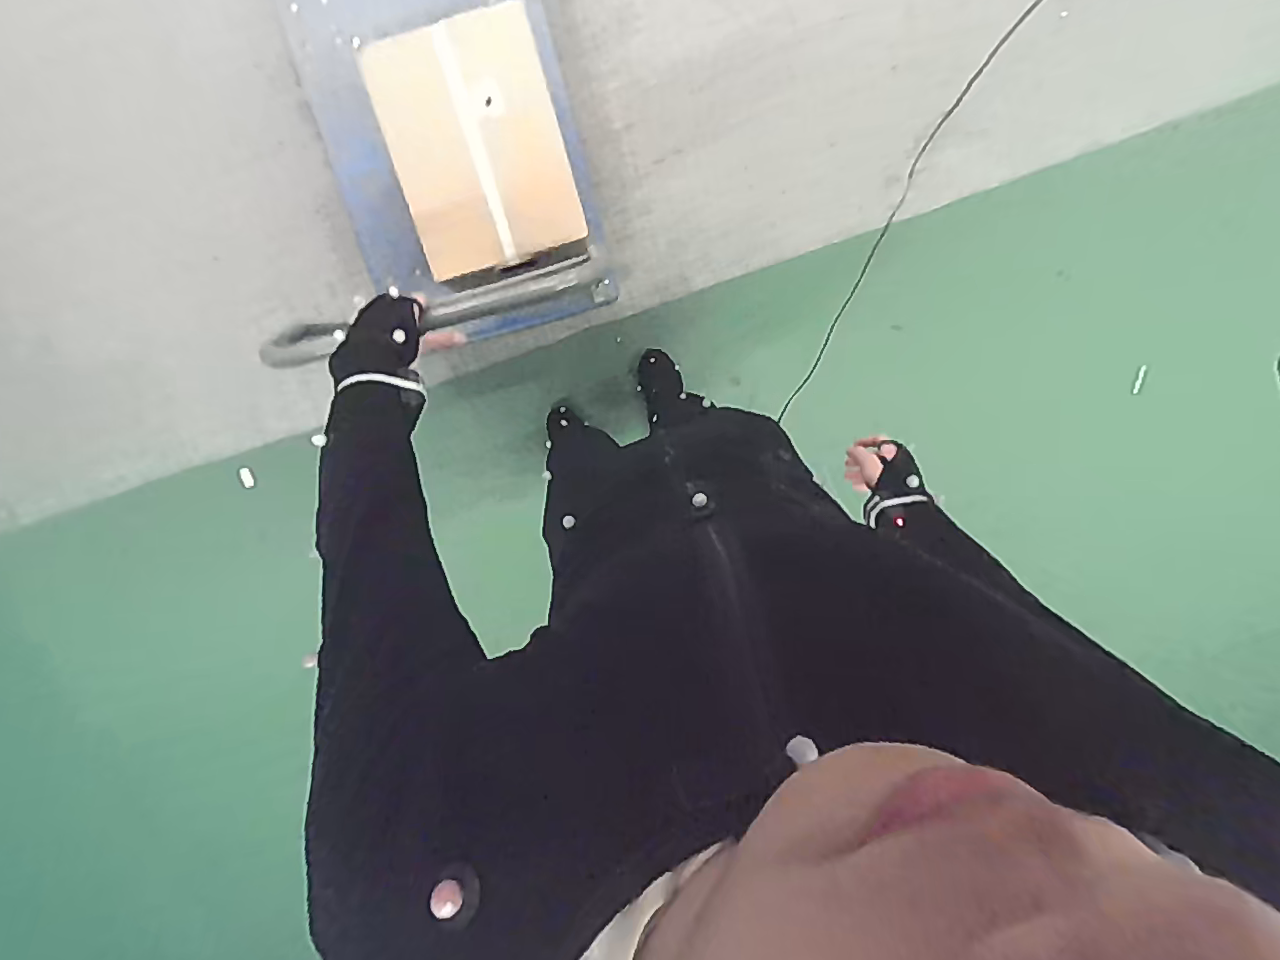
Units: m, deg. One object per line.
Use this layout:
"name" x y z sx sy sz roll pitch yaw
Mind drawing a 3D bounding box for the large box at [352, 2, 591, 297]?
"large box" -0.312 -0.641 1.135 0.320 0.320 0.408 -17 103 0
